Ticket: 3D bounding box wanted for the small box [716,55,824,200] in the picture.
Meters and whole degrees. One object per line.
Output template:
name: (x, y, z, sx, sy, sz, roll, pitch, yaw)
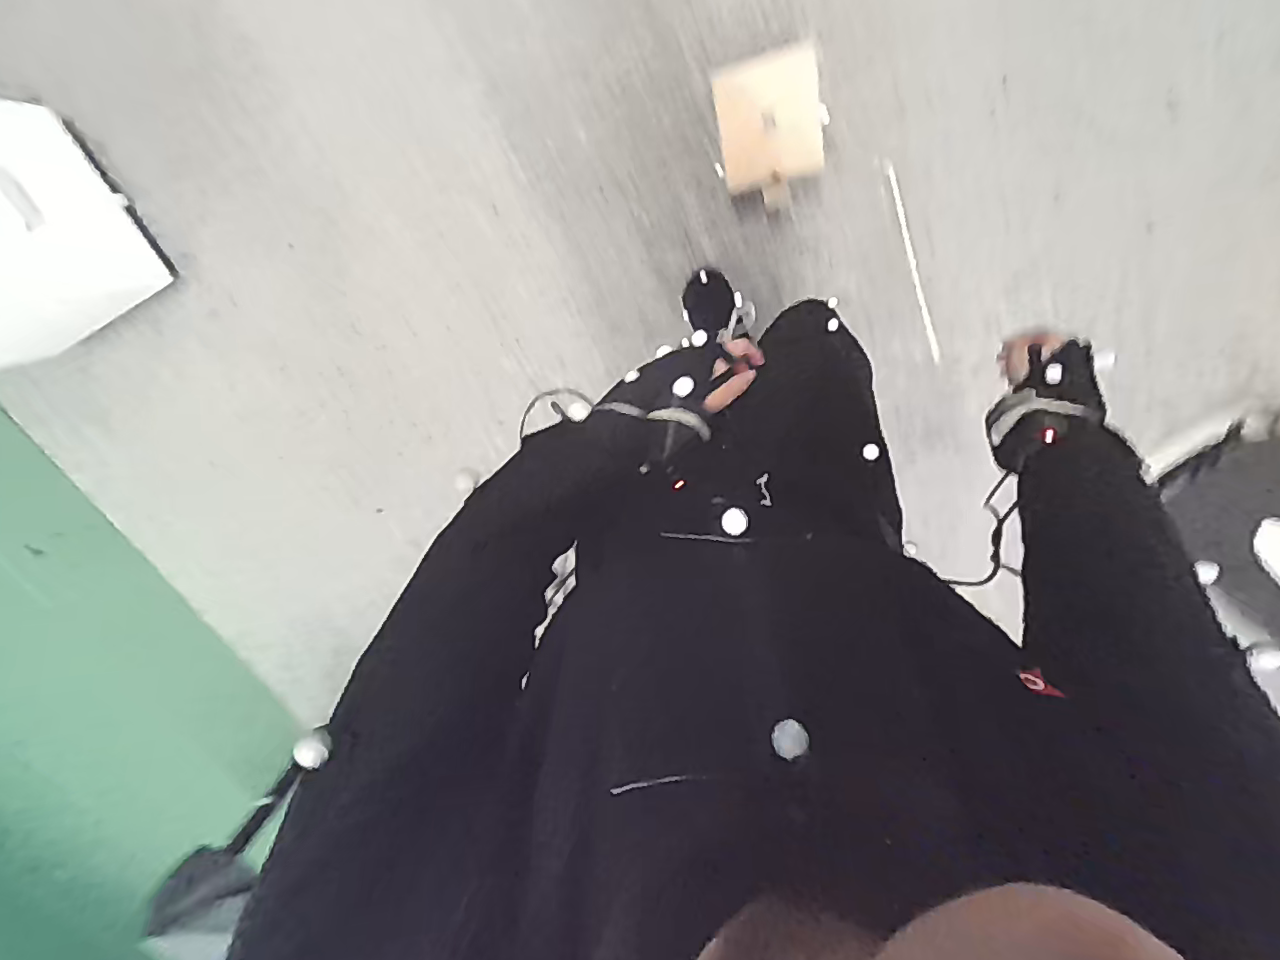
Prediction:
small box: (0.230, -0.621, 0.977, 0.168, 0.176, 0.179, -8, 115, 13)
